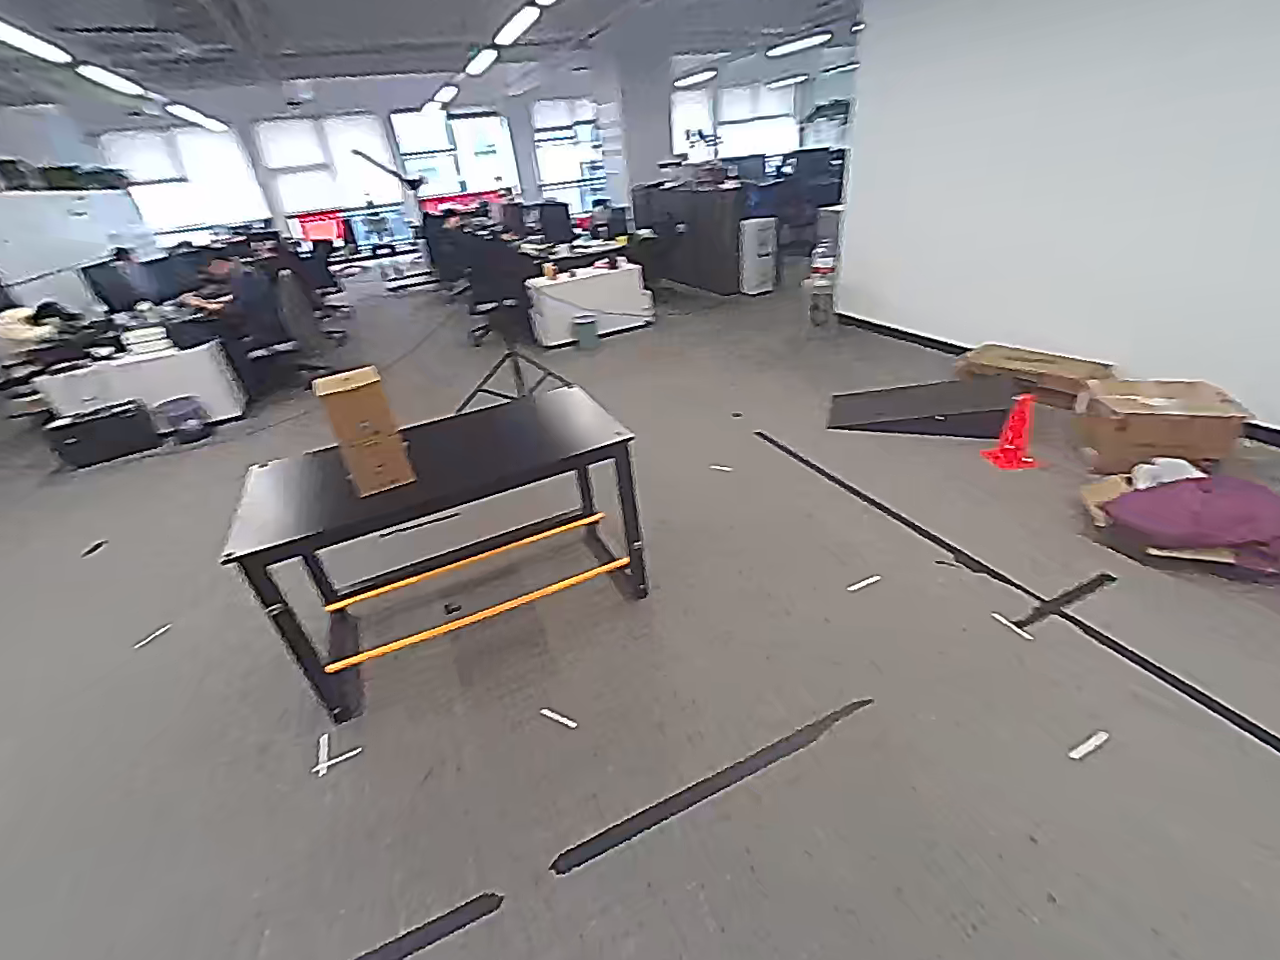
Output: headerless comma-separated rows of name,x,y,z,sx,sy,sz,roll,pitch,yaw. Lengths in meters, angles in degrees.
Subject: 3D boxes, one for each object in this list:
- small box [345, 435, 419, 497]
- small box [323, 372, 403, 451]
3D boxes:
small box,-0.816,-0.063,1.710,0.168,0.176,0.179,-21,34,-22
small box,-0.834,-0.207,1.630,0.168,0.176,0.179,-22,34,-23
